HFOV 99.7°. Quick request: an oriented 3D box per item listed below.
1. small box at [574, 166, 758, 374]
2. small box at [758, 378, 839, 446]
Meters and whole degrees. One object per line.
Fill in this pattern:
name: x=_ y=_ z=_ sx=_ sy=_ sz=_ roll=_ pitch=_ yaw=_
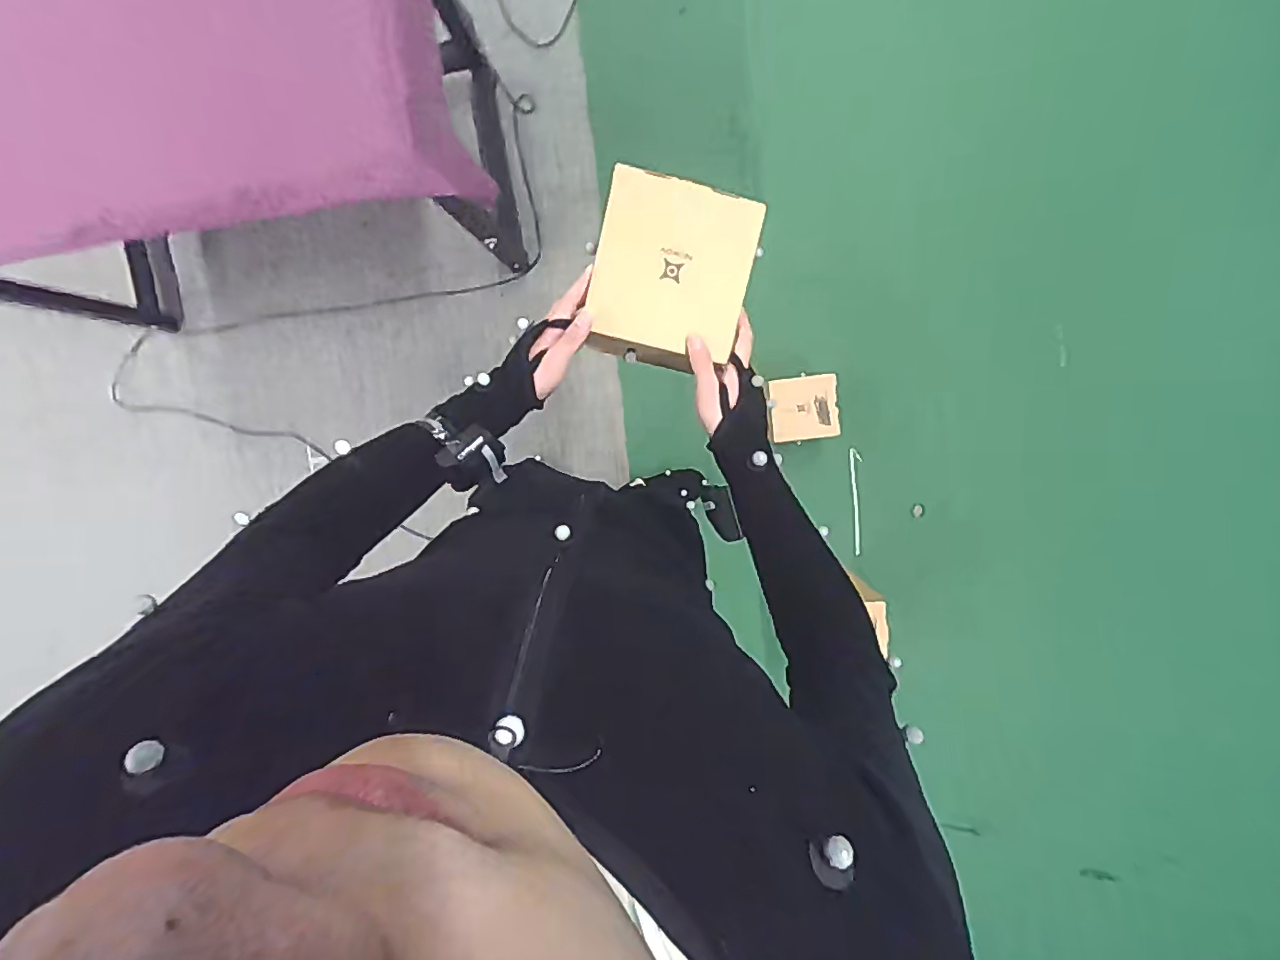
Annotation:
small box: x=0.024 y=-0.232 z=0.650 sx=0.168 sy=0.176 sz=0.179 roll=12 pitch=95 yaw=-5
small box: x=0.433 y=-0.187 z=1.494 sx=0.179 sy=0.176 sz=0.168 roll=-6 pitch=94 yaw=5
